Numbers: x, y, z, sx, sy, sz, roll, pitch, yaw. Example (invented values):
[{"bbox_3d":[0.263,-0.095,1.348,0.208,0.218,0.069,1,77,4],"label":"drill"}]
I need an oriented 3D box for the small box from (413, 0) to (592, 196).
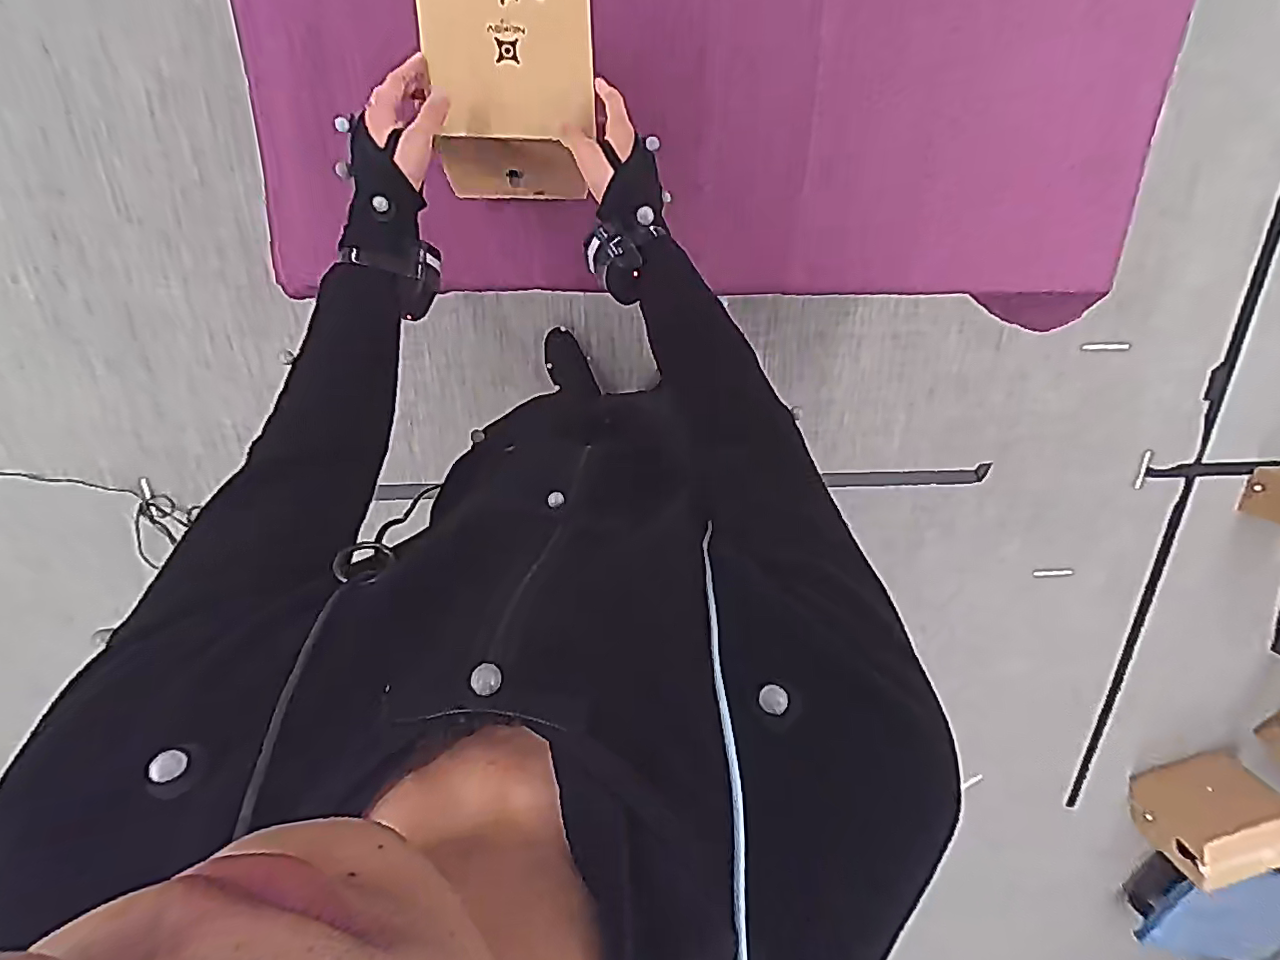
[{"bbox_3d":[-0.142,-0.433,0.596,0.168,0.176,0.179,-4,98,-10],"label":"small box"}]
